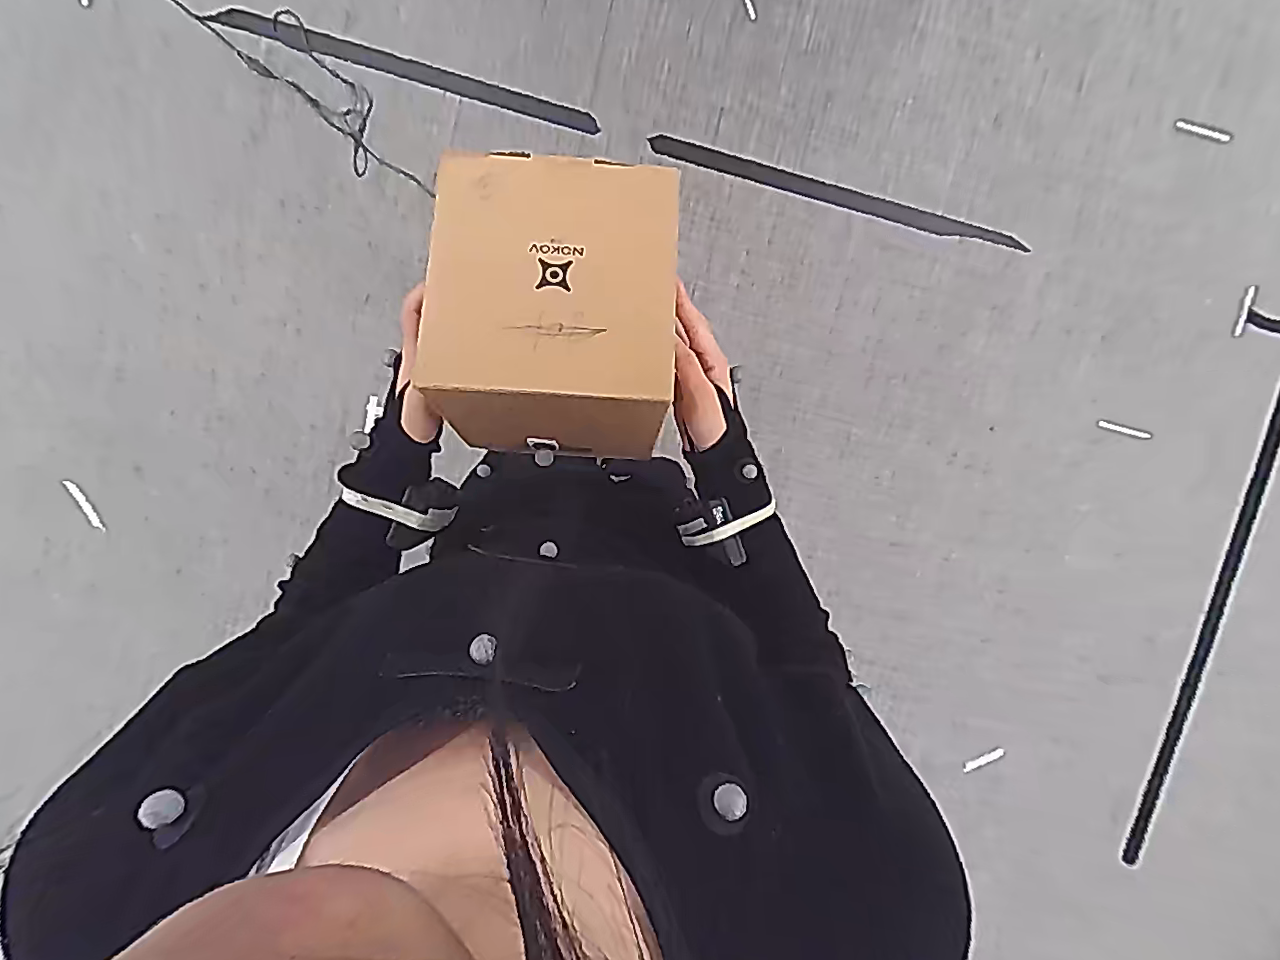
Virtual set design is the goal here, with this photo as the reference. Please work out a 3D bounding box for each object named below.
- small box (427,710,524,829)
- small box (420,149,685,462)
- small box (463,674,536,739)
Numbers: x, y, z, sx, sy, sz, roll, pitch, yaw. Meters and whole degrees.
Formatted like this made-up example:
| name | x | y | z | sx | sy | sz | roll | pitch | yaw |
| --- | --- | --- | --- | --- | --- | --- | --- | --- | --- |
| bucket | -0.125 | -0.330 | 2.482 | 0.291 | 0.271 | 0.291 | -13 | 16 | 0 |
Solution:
| name | x | y | z | sx | sy | sz | roll | pitch | yaw |
| --- | --- | --- | --- | --- | --- | --- | --- | --- | --- |
| small box | -0.379 | 0.675 | 1.281 | 0.168 | 0.176 | 0.179 | 13 | 95 | -3 |
| small box | -0.059 | -0.121 | 0.435 | 0.168 | 0.176 | 0.179 | 2 | 79 | -3 |
| small box | -0.386 | 0.651 | 1.443 | 0.168 | 0.176 | 0.179 | 17 | 94 | -4 |
